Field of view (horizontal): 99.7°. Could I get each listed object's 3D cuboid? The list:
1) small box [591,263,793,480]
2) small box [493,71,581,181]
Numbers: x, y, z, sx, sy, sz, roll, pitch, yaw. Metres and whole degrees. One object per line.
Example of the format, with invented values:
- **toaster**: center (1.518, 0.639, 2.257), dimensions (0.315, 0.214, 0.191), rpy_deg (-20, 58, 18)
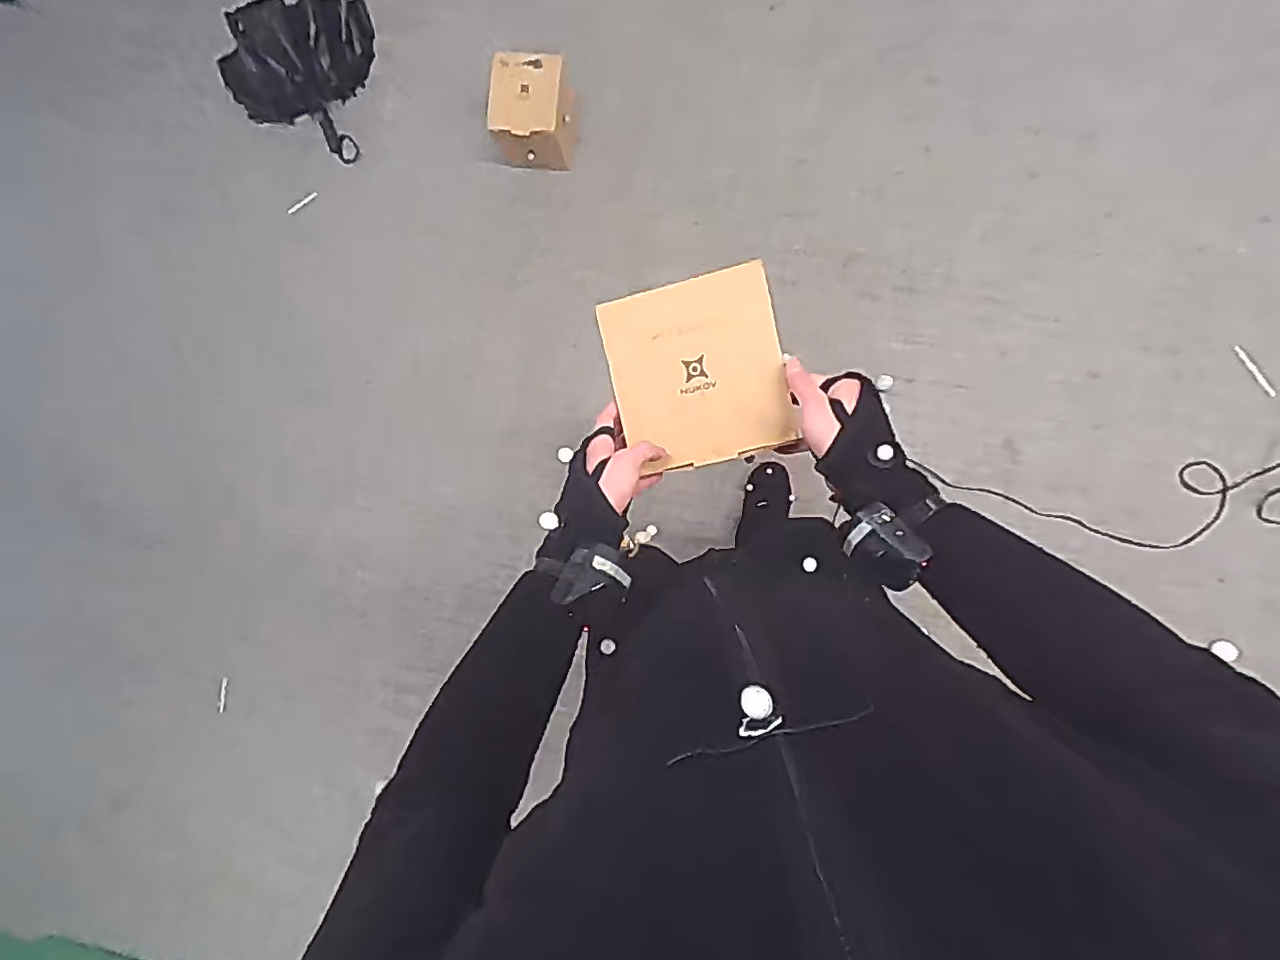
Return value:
- **small box**: center (0.061, -0.109, 0.599), dimensions (0.168, 0.176, 0.179), rpy_deg (-14, 92, 9)
- **small box**: center (-0.250, -0.872, 1.345), dimensions (0.168, 0.176, 0.179), rpy_deg (6, 93, 7)
